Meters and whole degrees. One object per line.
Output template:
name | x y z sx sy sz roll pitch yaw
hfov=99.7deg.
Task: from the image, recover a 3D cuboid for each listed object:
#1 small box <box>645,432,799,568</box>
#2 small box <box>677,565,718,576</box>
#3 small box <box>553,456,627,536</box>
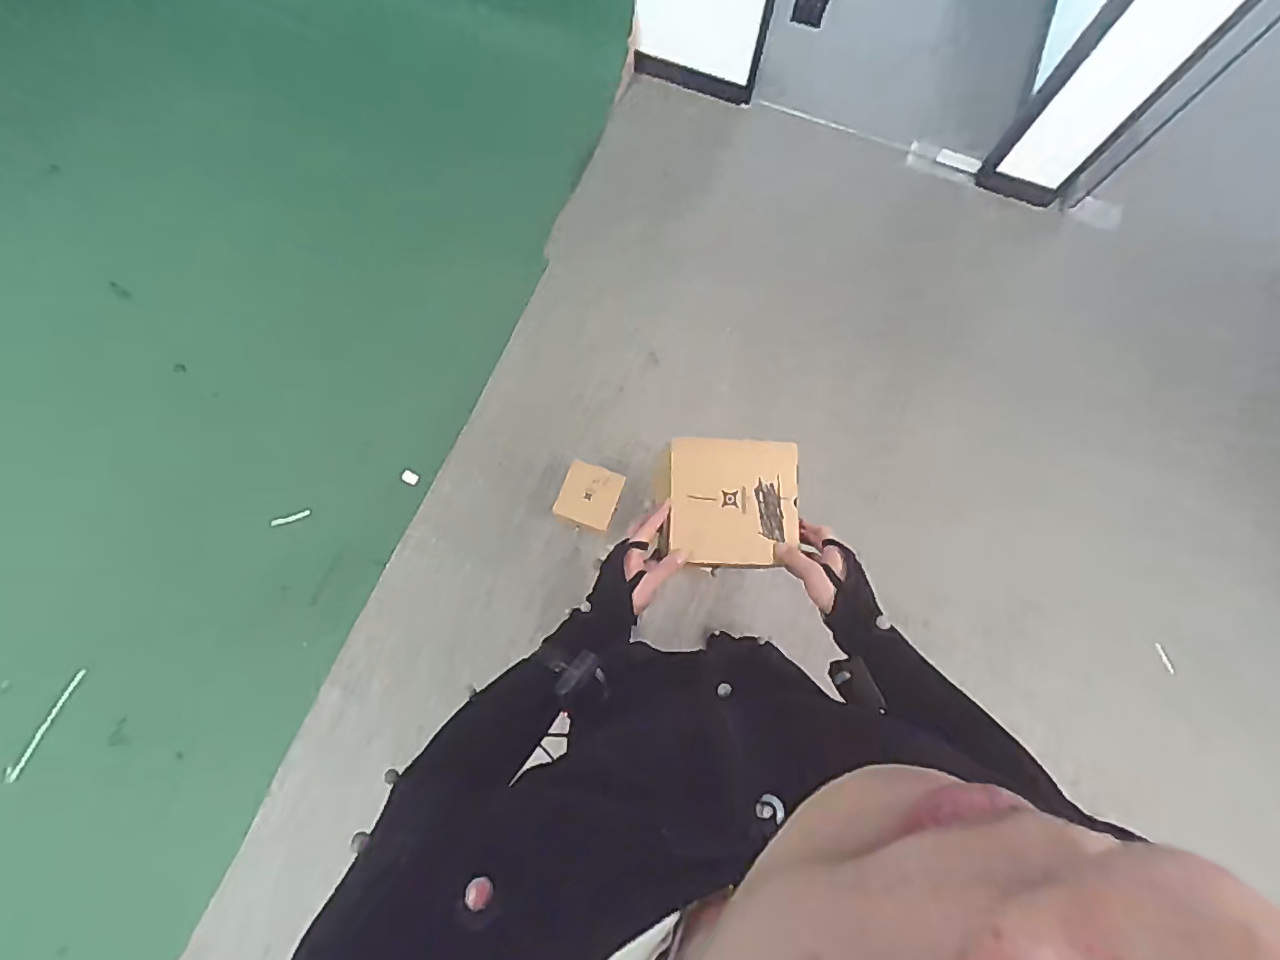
small box | 0.108 0.037 0.765 0.179 0.176 0.168 3 79 -7
small box | 0.165 0.171 1.591 0.168 0.176 0.179 21 77 5
small box | -0.142 0.055 1.612 0.168 0.176 0.179 21 76 4
